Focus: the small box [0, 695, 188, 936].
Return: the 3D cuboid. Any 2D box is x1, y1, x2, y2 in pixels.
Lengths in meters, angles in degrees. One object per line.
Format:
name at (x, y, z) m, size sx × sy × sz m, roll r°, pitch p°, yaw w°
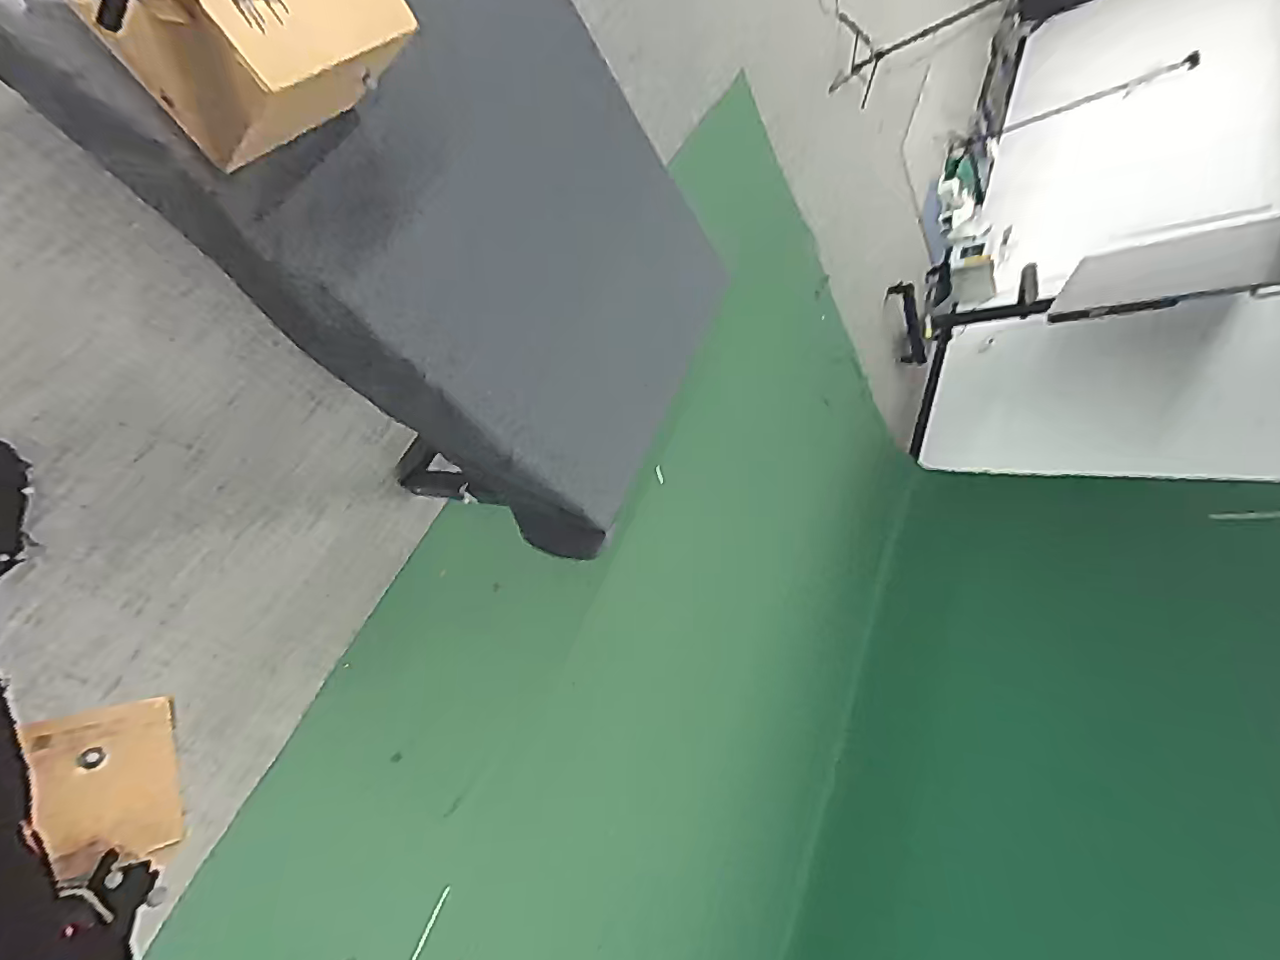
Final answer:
small box at (-0.627, 0.364, 0.595) m, size 0.168 × 0.179 × 0.176 m, roll 1°, pitch 51°, yaw -50°
